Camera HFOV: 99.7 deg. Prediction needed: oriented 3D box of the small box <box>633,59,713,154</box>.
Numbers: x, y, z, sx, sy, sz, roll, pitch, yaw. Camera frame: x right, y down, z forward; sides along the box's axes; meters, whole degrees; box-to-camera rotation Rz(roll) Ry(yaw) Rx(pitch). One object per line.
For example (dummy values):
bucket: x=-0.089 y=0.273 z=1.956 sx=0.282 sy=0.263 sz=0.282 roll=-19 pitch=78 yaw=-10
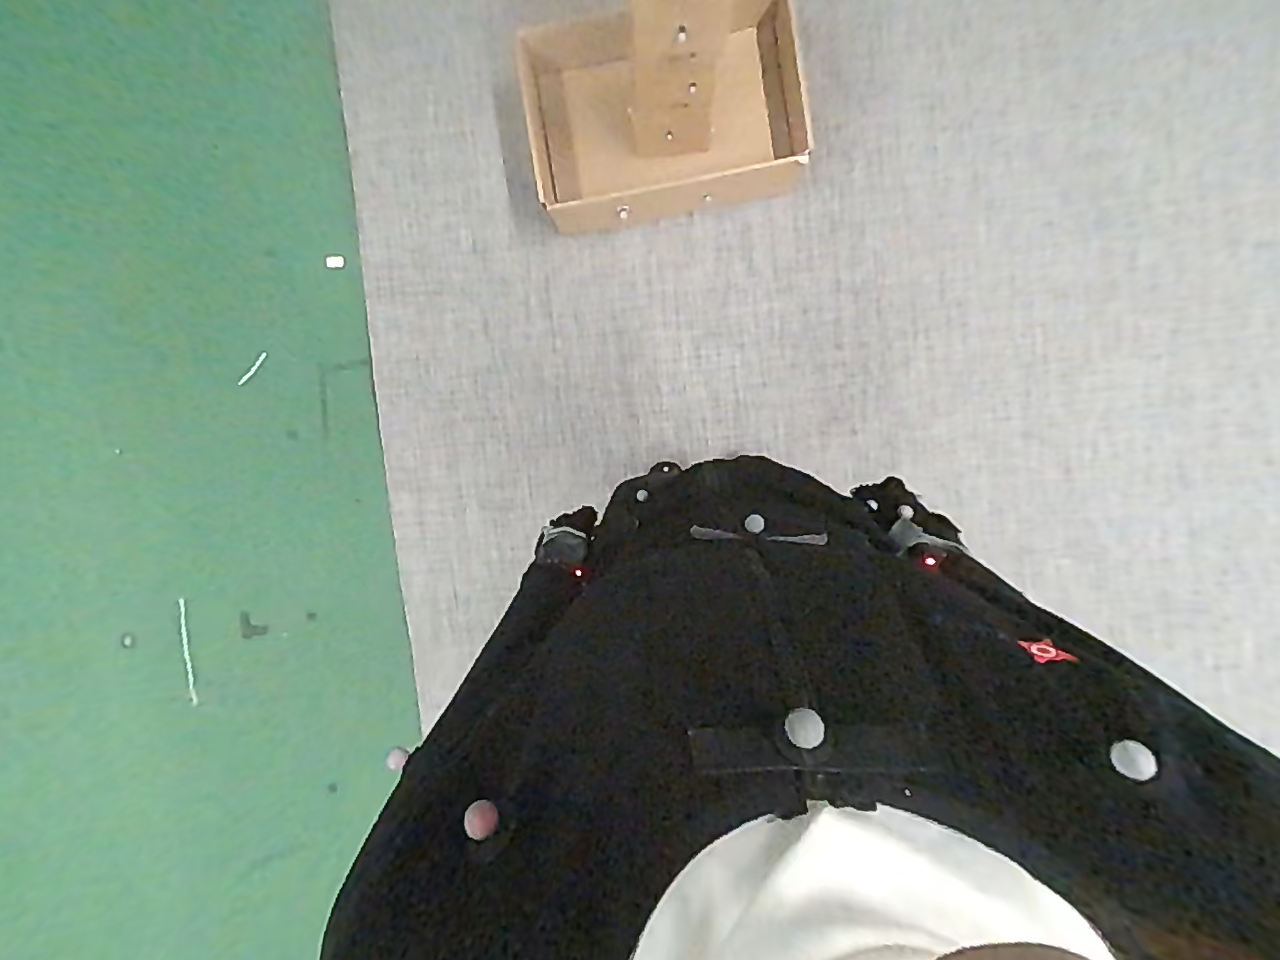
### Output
small box: x=0.080 y=-0.895 z=1.267 sx=0.179 sy=0.176 sz=0.168 roll=-2 pitch=93 yaw=7

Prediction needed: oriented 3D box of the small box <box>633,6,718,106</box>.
small box: x=0.074 y=-0.889 z=1.090 sx=0.168 sy=0.176 sz=0.179 roll=0 pitch=92 yaw=4
